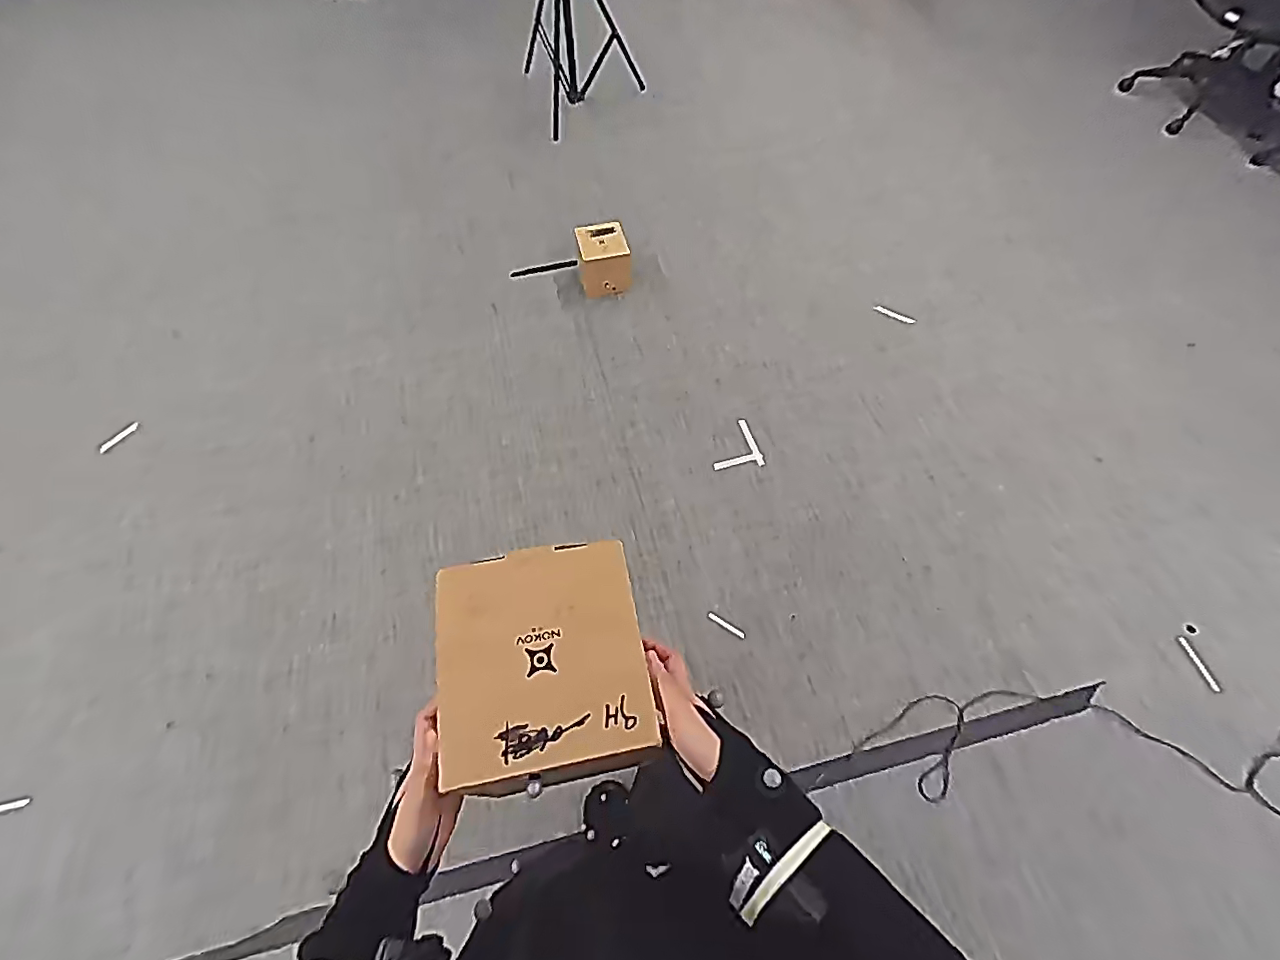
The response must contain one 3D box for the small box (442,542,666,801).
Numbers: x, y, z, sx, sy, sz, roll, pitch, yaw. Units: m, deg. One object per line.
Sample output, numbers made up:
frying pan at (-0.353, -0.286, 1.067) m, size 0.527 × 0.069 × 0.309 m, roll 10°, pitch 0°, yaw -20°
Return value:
small box at (-0.079, 0.181, 0.503) m, size 0.168 × 0.176 × 0.179 m, roll -9°, pitch 59°, yaw -7°
